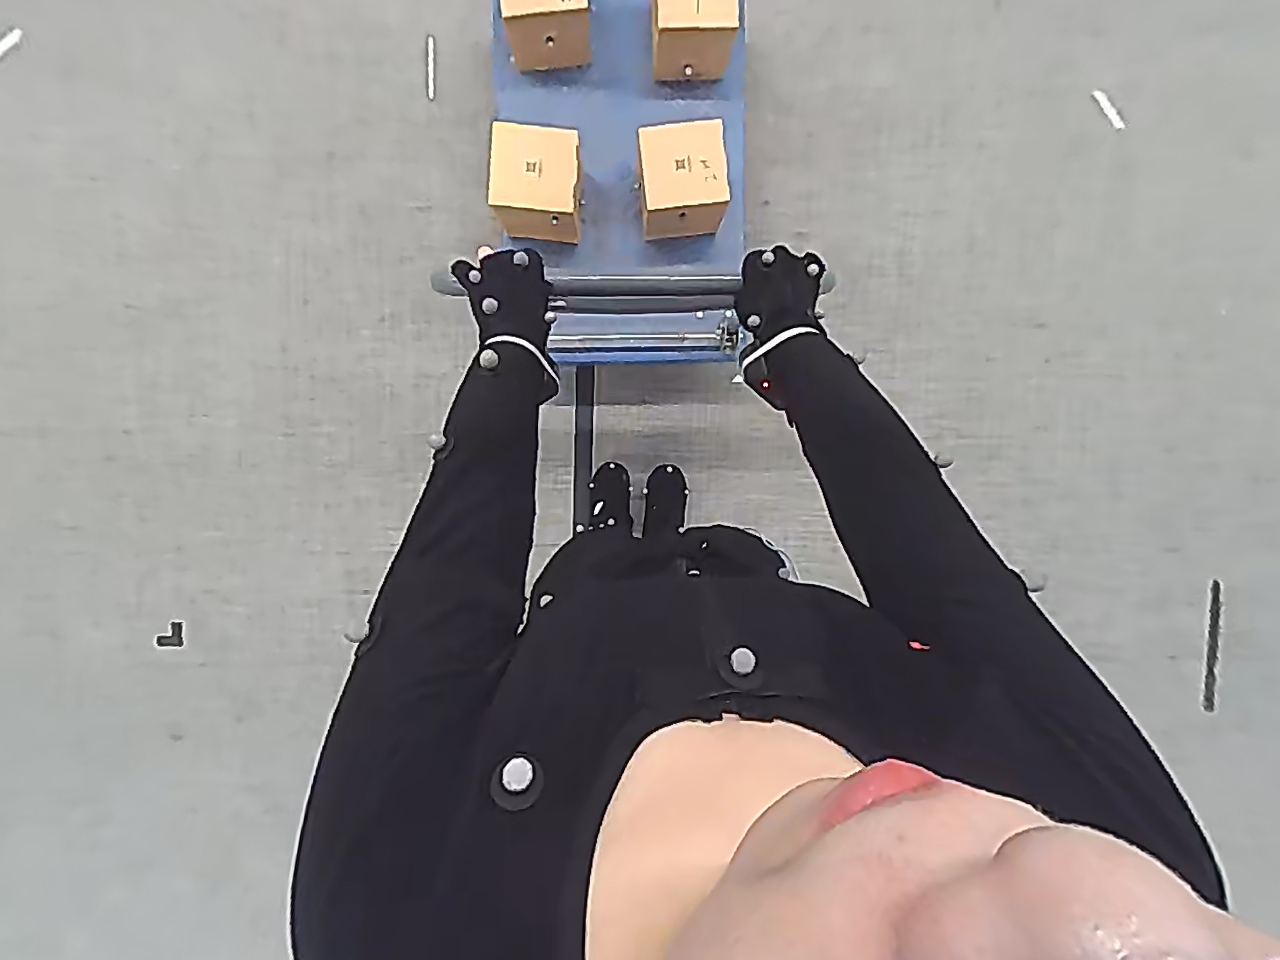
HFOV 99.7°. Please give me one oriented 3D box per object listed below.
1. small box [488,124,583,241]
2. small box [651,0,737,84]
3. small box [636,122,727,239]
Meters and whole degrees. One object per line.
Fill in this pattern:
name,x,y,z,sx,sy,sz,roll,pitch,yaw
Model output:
small box,-0.222,-0.639,1.182,0.179,0.176,0.168,4,94,-3
small box,0.110,-1.000,1.165,0.168,0.176,0.179,-1,95,-2
small box,0.085,-0.648,1.190,0.179,0.176,0.168,-6,94,-1
